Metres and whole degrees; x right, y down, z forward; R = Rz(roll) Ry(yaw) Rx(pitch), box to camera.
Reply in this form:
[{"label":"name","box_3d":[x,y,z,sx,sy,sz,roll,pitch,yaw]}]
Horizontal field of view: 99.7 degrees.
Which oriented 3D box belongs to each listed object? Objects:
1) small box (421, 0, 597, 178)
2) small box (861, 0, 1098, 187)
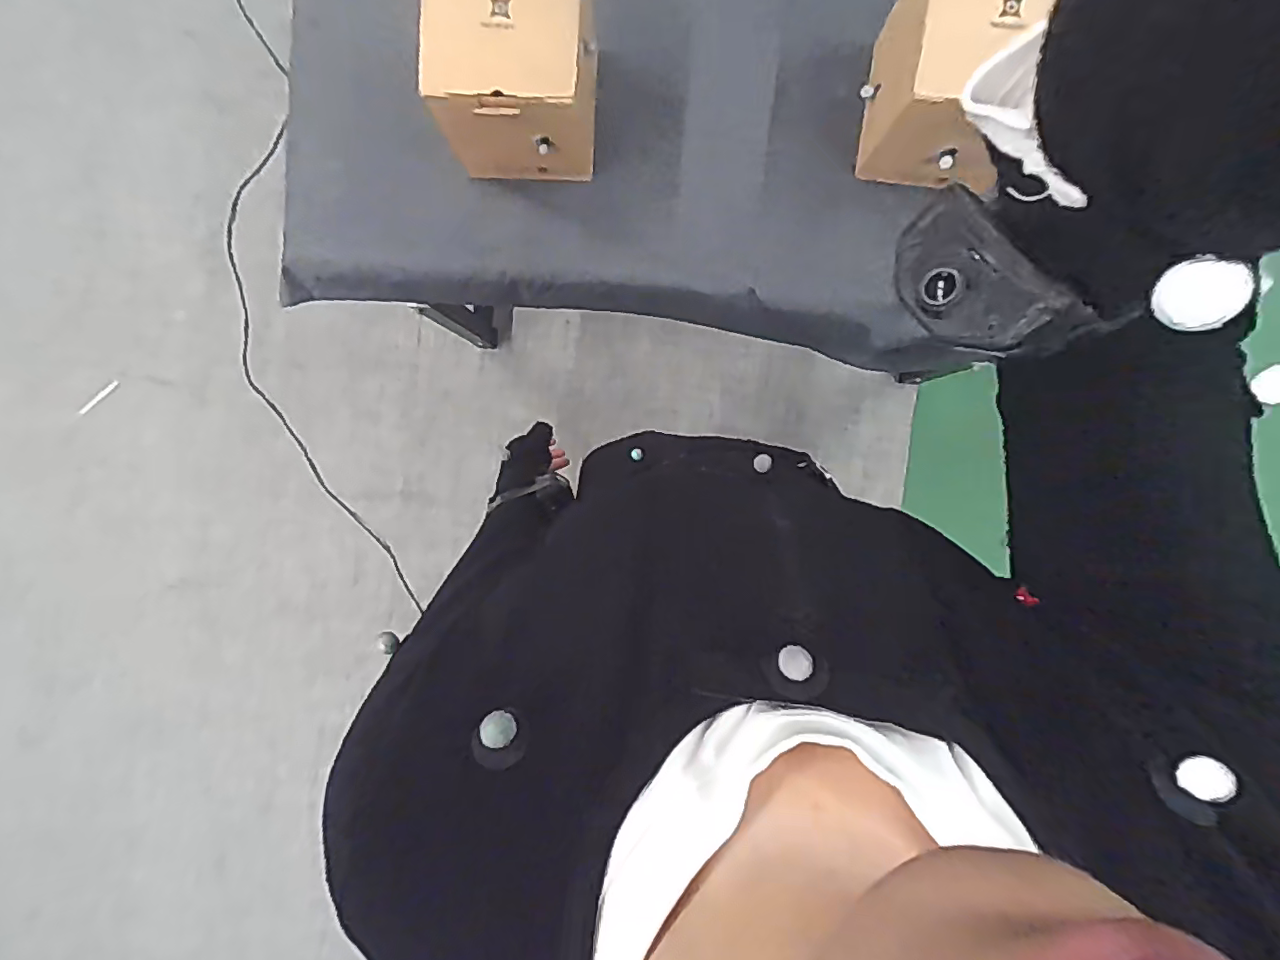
[{"label":"small box","box_3d":[-0.141,-0.483,0.634,0.168,0.176,0.179,2,91,0]},{"label":"small box","box_3d":[0.371,-0.464,0.618,0.168,0.176,0.179,8,94,2]}]
